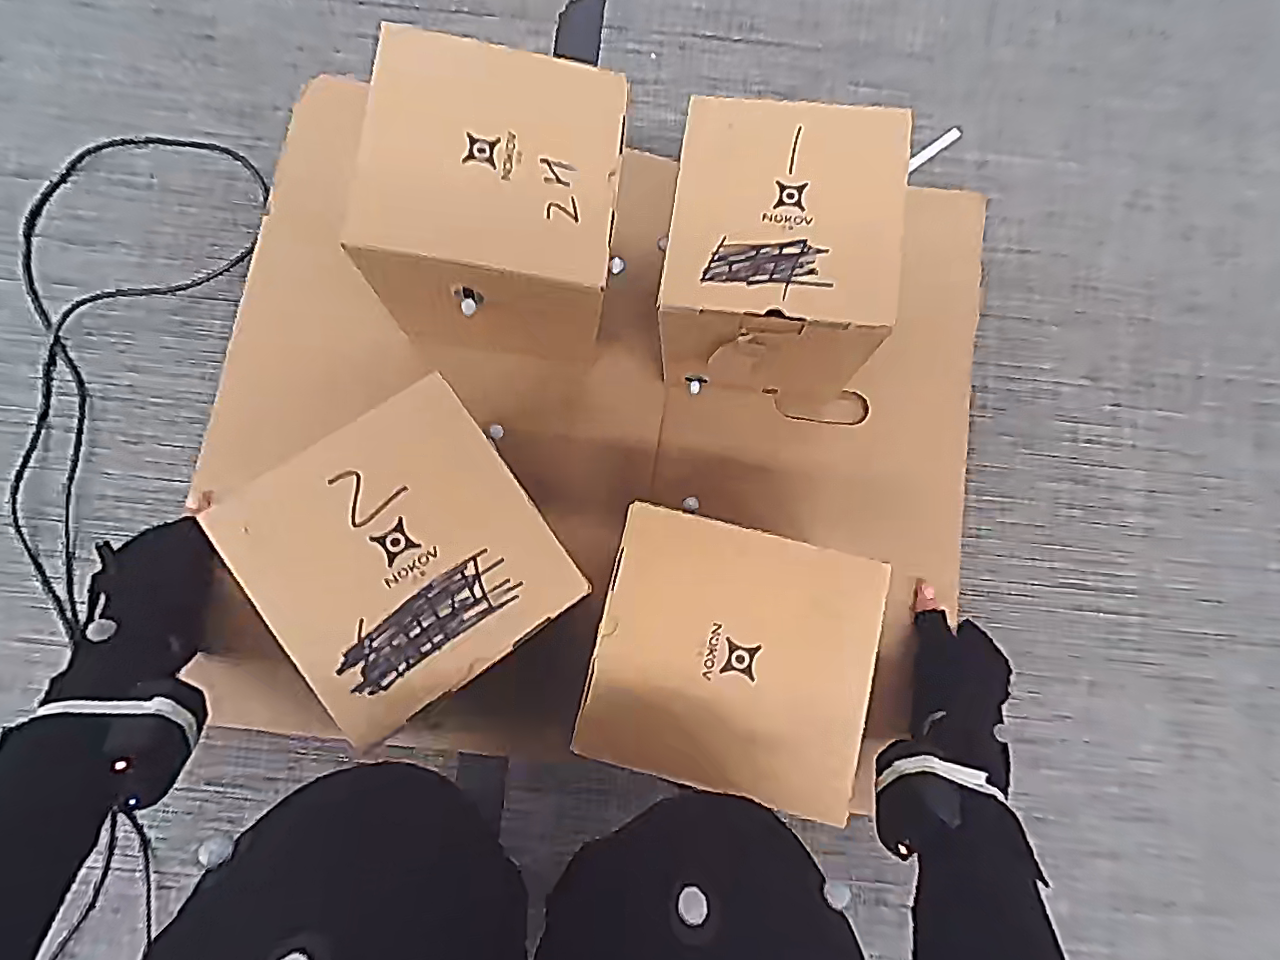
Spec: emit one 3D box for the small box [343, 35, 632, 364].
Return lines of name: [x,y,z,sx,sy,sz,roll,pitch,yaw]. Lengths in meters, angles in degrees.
small box: [-0.111,-0.210,0.454,0.179,0.176,0.168,8,82,-7]

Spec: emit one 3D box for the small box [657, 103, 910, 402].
small box: [0.112,-0.181,0.473,0.168,0.176,0.179,9,80,5]
